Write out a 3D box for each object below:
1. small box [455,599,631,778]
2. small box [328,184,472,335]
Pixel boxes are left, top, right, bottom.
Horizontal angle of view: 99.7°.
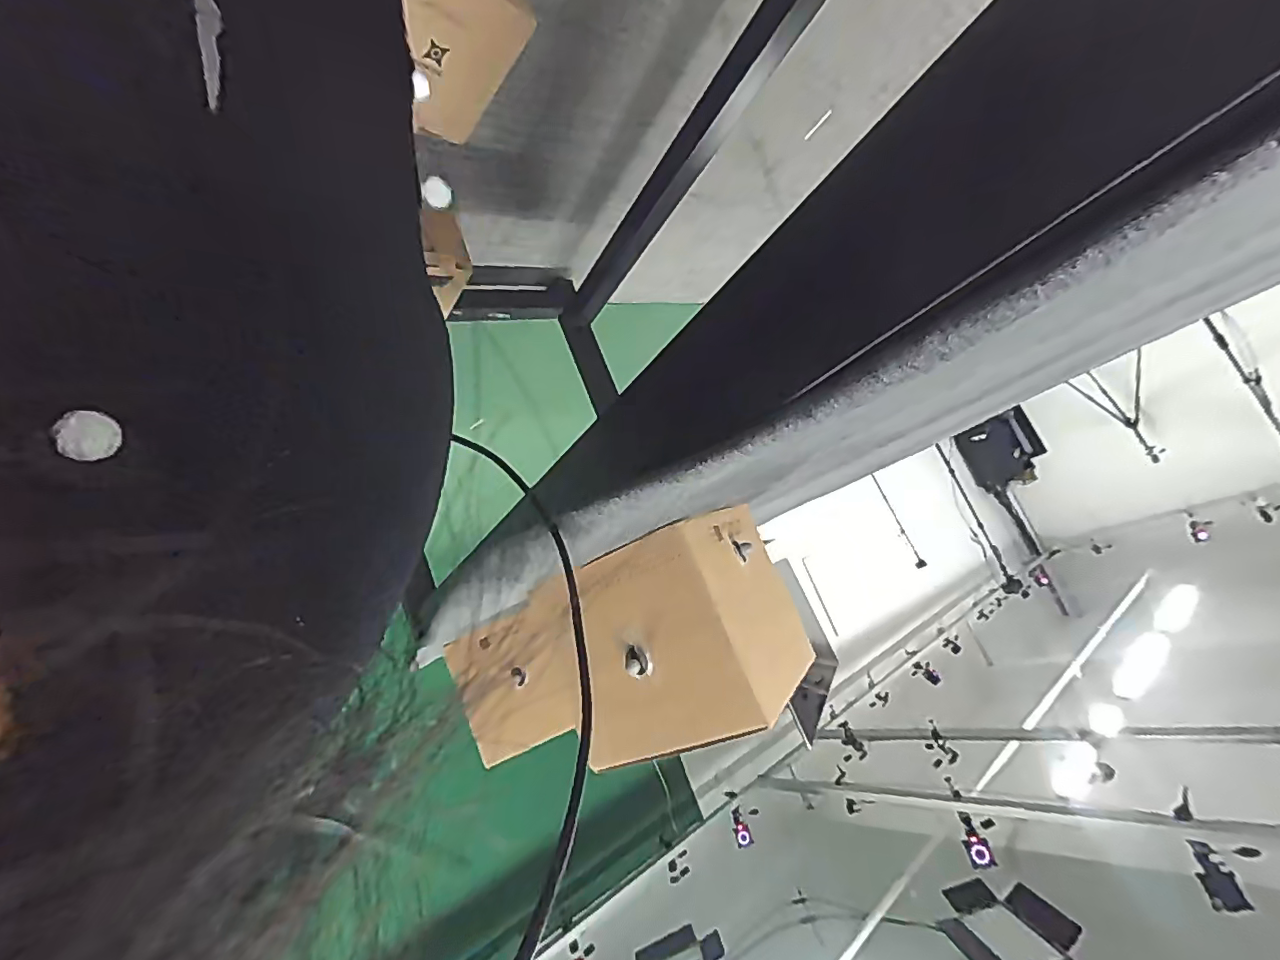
[{"bbox_3d":[-0.135,0.283,0.776,0.168,0.176,0.179,-27,168,5],"label":"small box"},{"bbox_3d":[-0.420,-0.373,0.936,0.168,0.176,0.179,-12,165,-42],"label":"small box"}]
